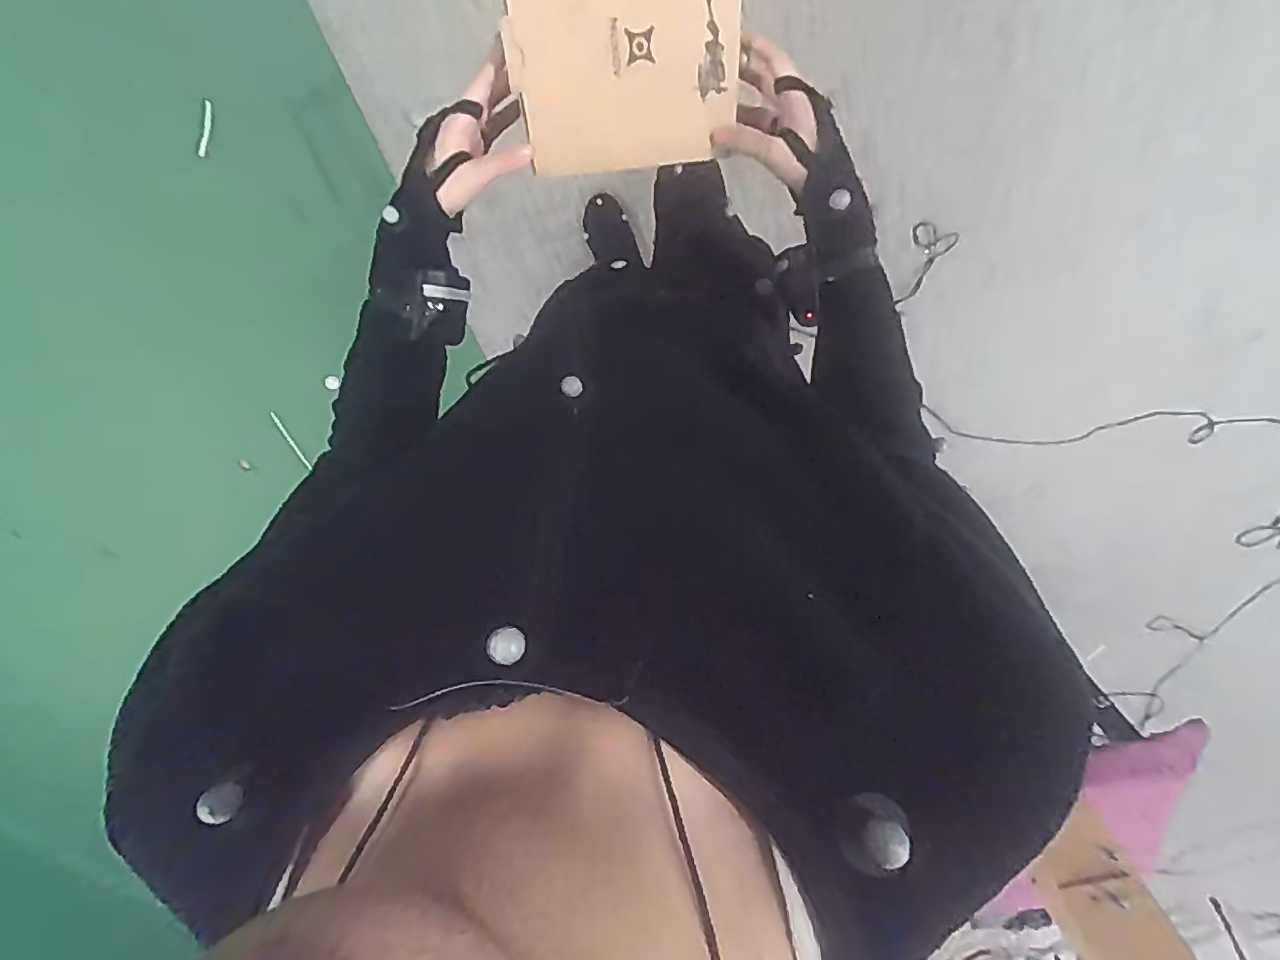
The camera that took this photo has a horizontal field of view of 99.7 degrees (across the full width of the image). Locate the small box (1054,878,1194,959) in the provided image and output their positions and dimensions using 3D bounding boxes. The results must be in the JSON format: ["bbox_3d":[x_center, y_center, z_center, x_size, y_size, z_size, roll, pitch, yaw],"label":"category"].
[{"bbox_3d":[0.985,0.949,1.102,0.168,0.176,0.179,-19,120,10],"label":"small box"}]
